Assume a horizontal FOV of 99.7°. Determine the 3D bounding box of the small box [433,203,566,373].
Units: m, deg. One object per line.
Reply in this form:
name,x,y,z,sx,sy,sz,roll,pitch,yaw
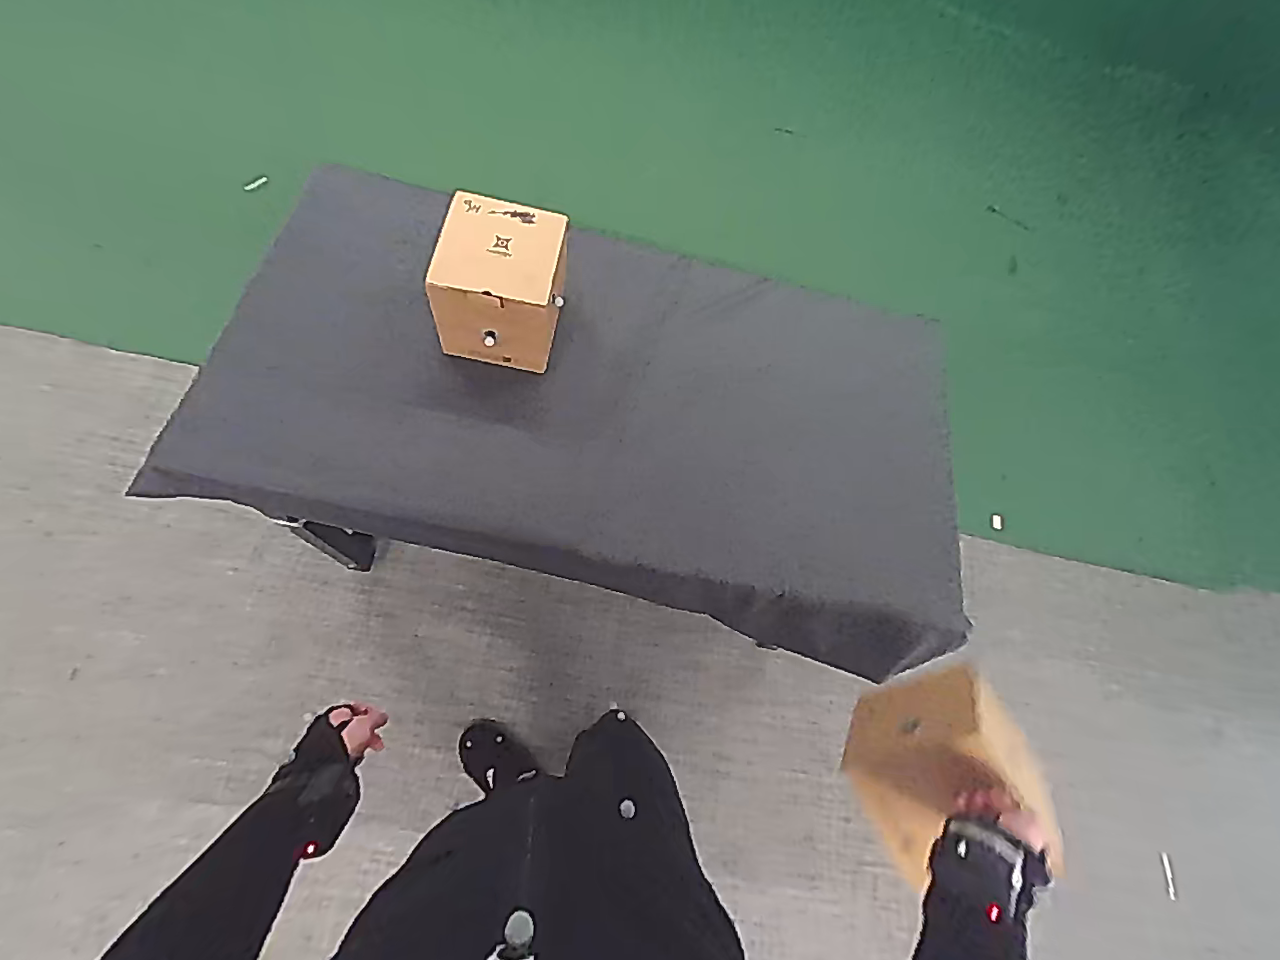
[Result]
small box,-0.207,-0.289,0.845,0.168,0.176,0.179,7,67,-6
